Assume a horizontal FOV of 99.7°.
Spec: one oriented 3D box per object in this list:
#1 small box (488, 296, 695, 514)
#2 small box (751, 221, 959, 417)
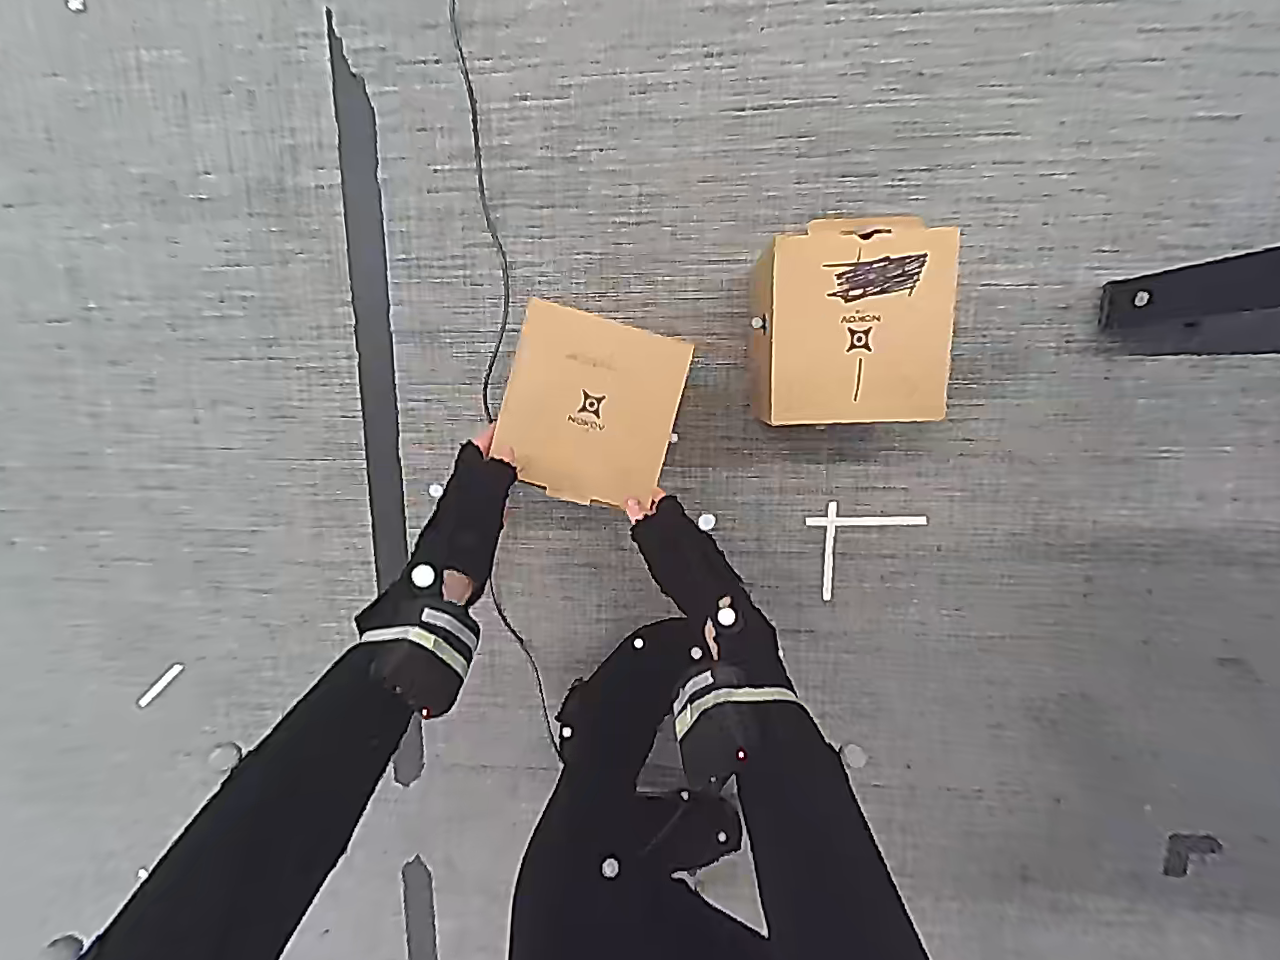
[{"bbox_3d":[-0.055,-0.072,0.597,0.168,0.176,0.179,15,89,-9],"label":"small box"},{"bbox_3d":[0.213,-0.161,0.583,0.168,0.176,0.179,-1,101,5],"label":"small box"}]
